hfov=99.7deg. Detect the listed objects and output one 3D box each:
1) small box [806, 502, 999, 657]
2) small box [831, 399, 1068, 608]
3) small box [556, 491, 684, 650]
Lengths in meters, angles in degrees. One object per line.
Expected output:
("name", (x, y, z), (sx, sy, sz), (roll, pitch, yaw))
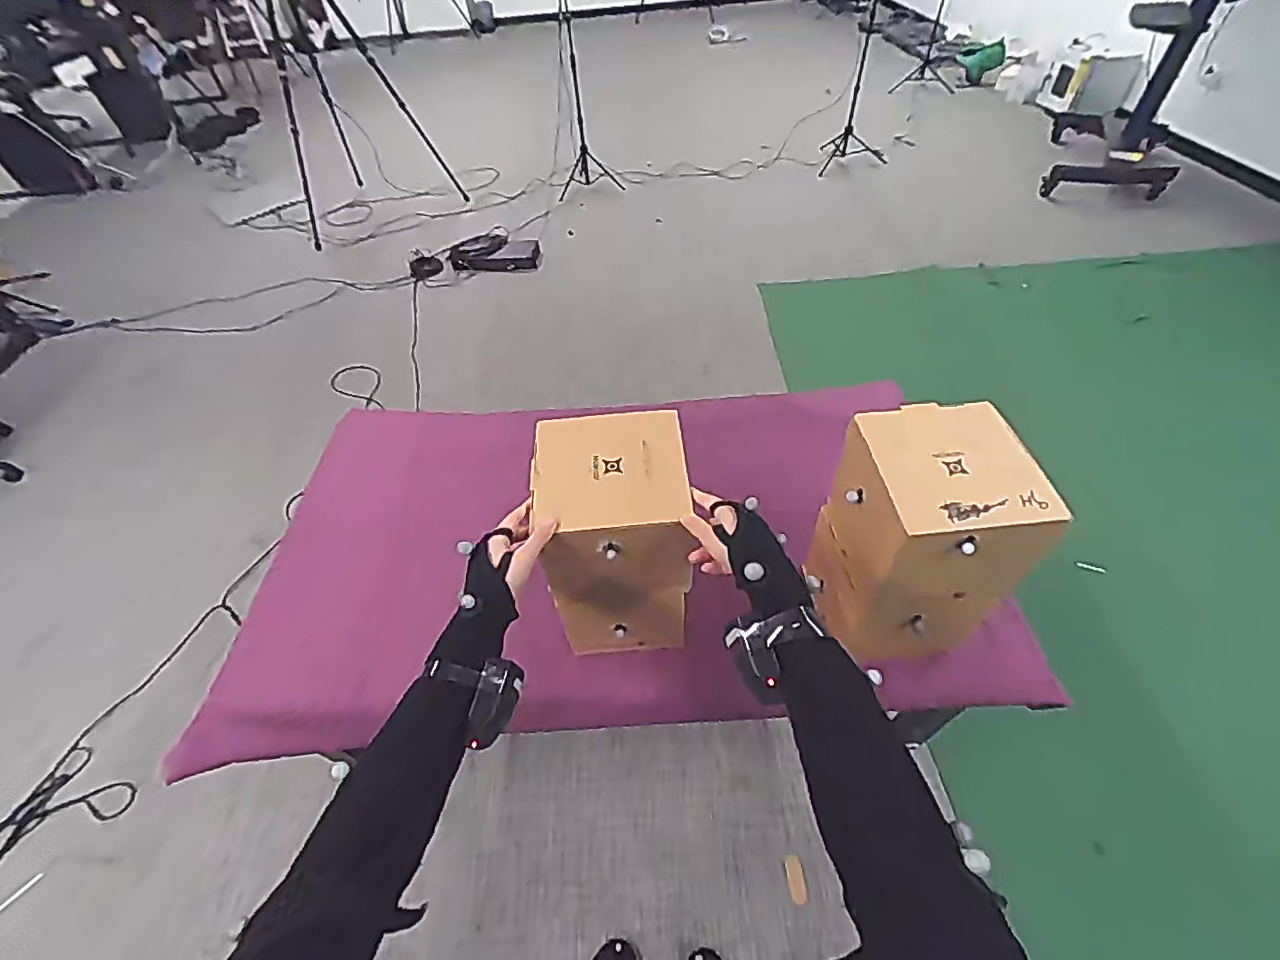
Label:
("small box", (0.354, 0.137, 0.770), (0.179, 0.176, 0.168), (-8, 50, 1))
("small box", (0.342, 0.030, 0.646), (0.168, 0.176, 0.179), (-8, 49, 2))
("small box", (-0.024, 0.141, 0.805), (0.168, 0.176, 0.179), (-5, 49, 1))
